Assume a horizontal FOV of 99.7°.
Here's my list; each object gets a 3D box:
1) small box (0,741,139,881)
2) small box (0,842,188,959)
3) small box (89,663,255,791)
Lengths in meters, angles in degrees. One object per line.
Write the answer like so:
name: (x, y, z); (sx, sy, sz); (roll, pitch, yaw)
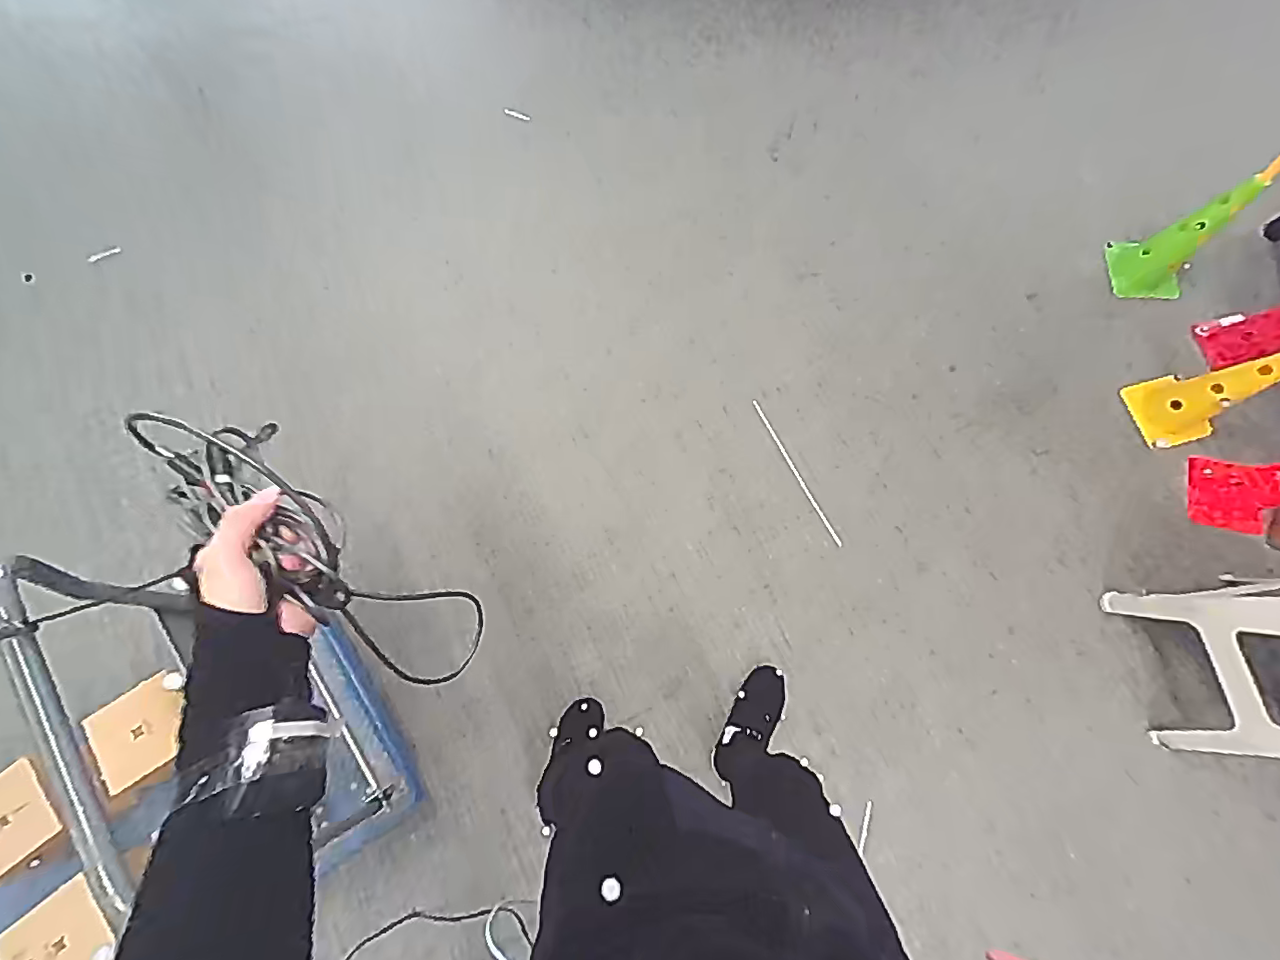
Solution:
small box: (-1.186, 0.659, 1.086); (0.179, 0.176, 0.168); (-39, 78, -11)
small box: (-1.023, 0.843, 1.033); (0.179, 0.176, 0.168); (-39, 77, -10)
small box: (-0.968, 0.505, 1.133); (0.179, 0.176, 0.168); (-34, 77, -10)
